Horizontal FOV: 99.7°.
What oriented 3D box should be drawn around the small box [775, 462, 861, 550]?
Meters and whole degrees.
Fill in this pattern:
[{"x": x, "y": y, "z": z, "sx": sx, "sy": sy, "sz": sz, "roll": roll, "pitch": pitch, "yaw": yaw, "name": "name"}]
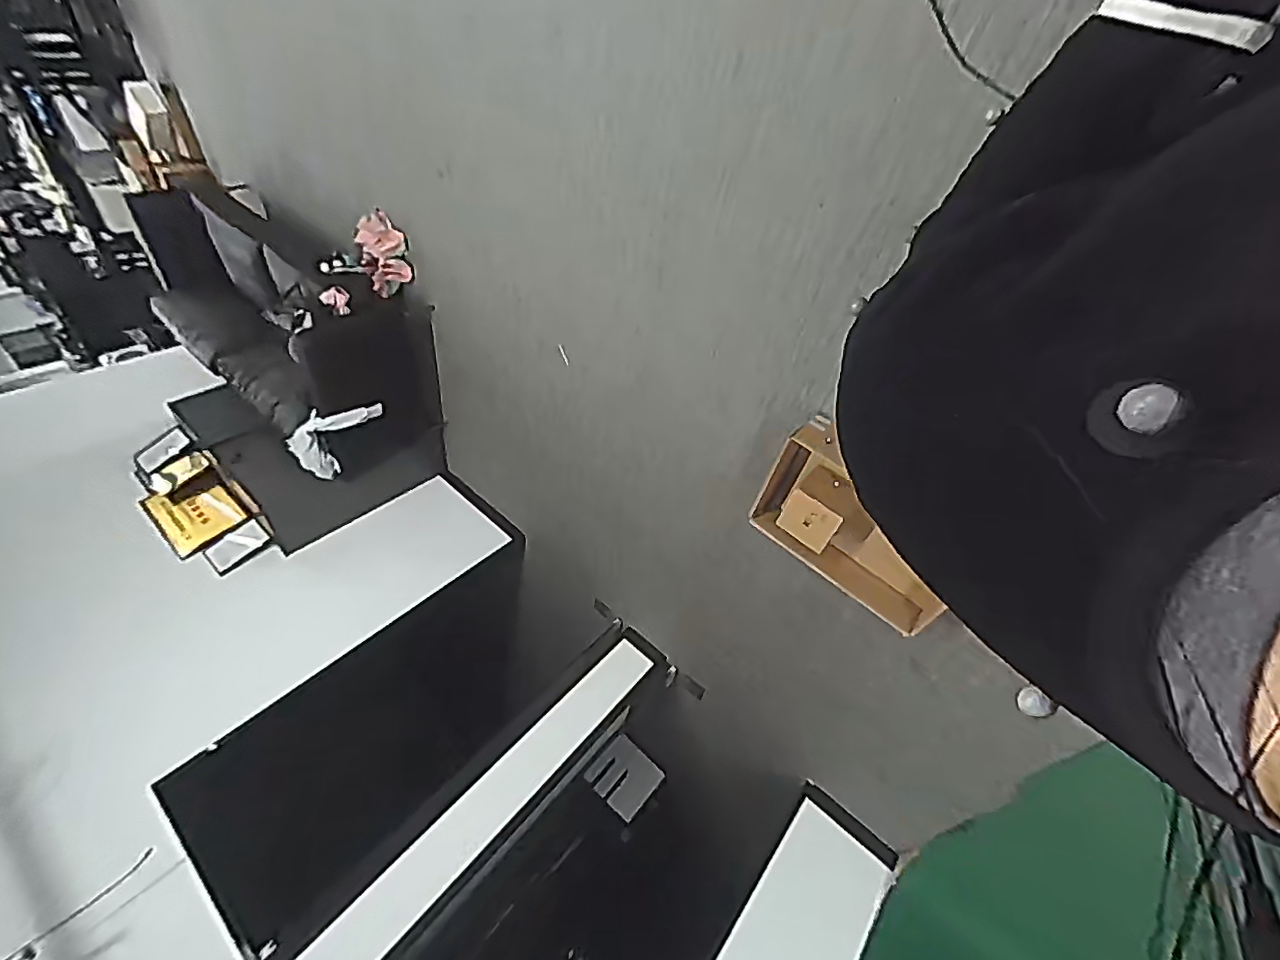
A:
[{"x": 0.560, "y": 0.079, "z": 1.693, "sx": 0.168, "sy": 0.176, "sz": 0.179, "roll": 37, "pitch": 138, "yaw": 20, "name": "small box"}]
